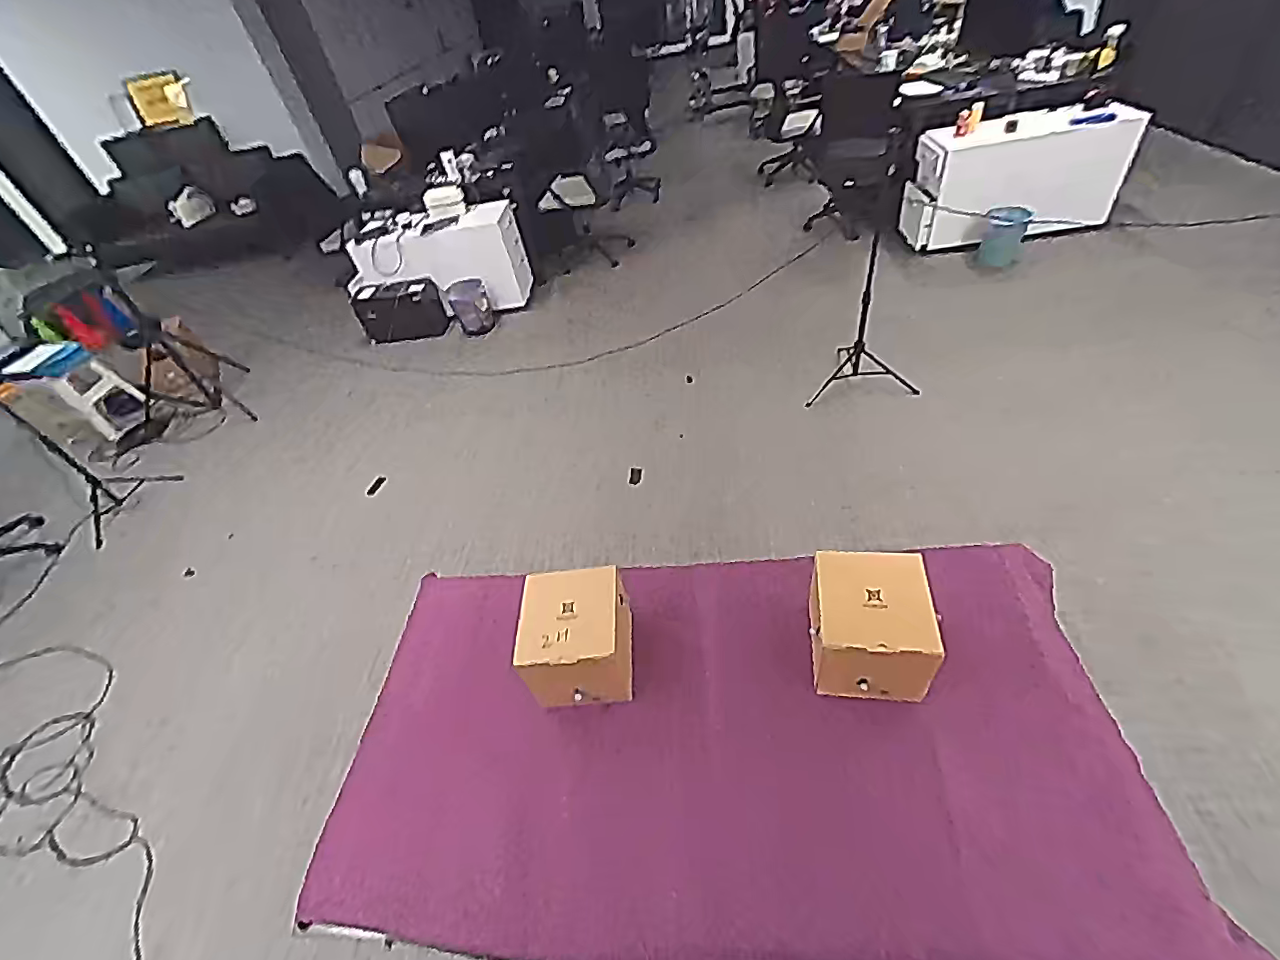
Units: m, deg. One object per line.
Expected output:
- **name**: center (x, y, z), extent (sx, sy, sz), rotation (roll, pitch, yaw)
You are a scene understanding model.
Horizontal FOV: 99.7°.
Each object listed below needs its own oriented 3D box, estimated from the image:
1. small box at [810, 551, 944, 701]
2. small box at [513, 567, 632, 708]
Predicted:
- **small box**: center (0.373, 0.238, 0.888), extent (0.168, 0.176, 0.179), rotation (-1, 46, 13)
- **small box**: center (-0.108, 0.279, 0.956), extent (0.168, 0.176, 0.179), rotation (-7, 44, 6)
